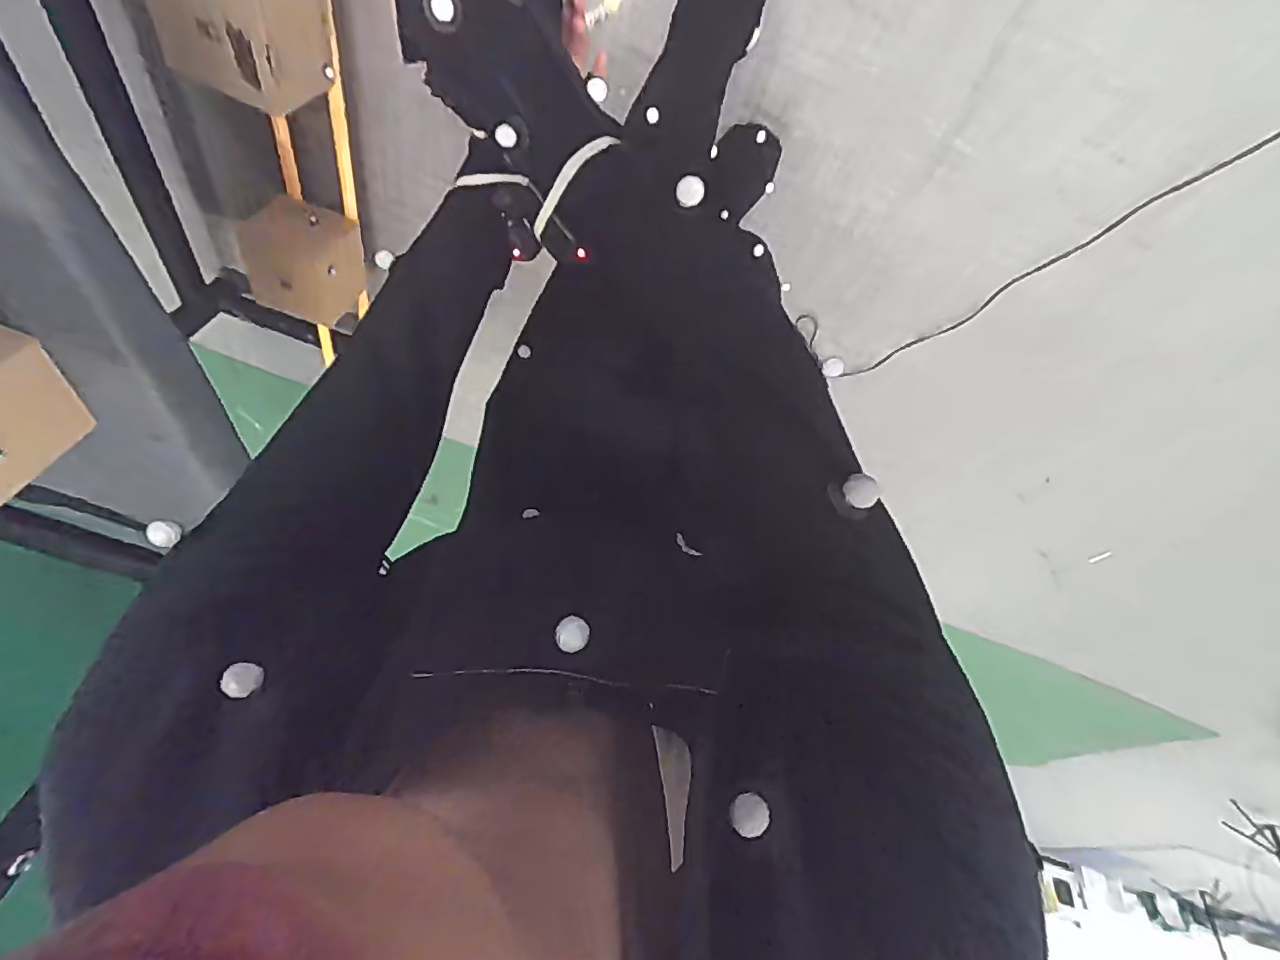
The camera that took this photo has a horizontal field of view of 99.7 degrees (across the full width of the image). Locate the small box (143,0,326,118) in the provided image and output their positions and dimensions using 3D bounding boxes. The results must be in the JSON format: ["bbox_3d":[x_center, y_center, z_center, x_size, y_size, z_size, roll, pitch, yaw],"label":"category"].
[{"bbox_3d":[-0.611,-0.708,0.831,0.179,0.176,0.168,22,141,-9],"label":"small box"}]

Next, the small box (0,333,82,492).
[{"bbox_3d":[-0.868,-0.092,0.665,0.168,0.176,0.179,22,142,-9],"label":"small box"}]
